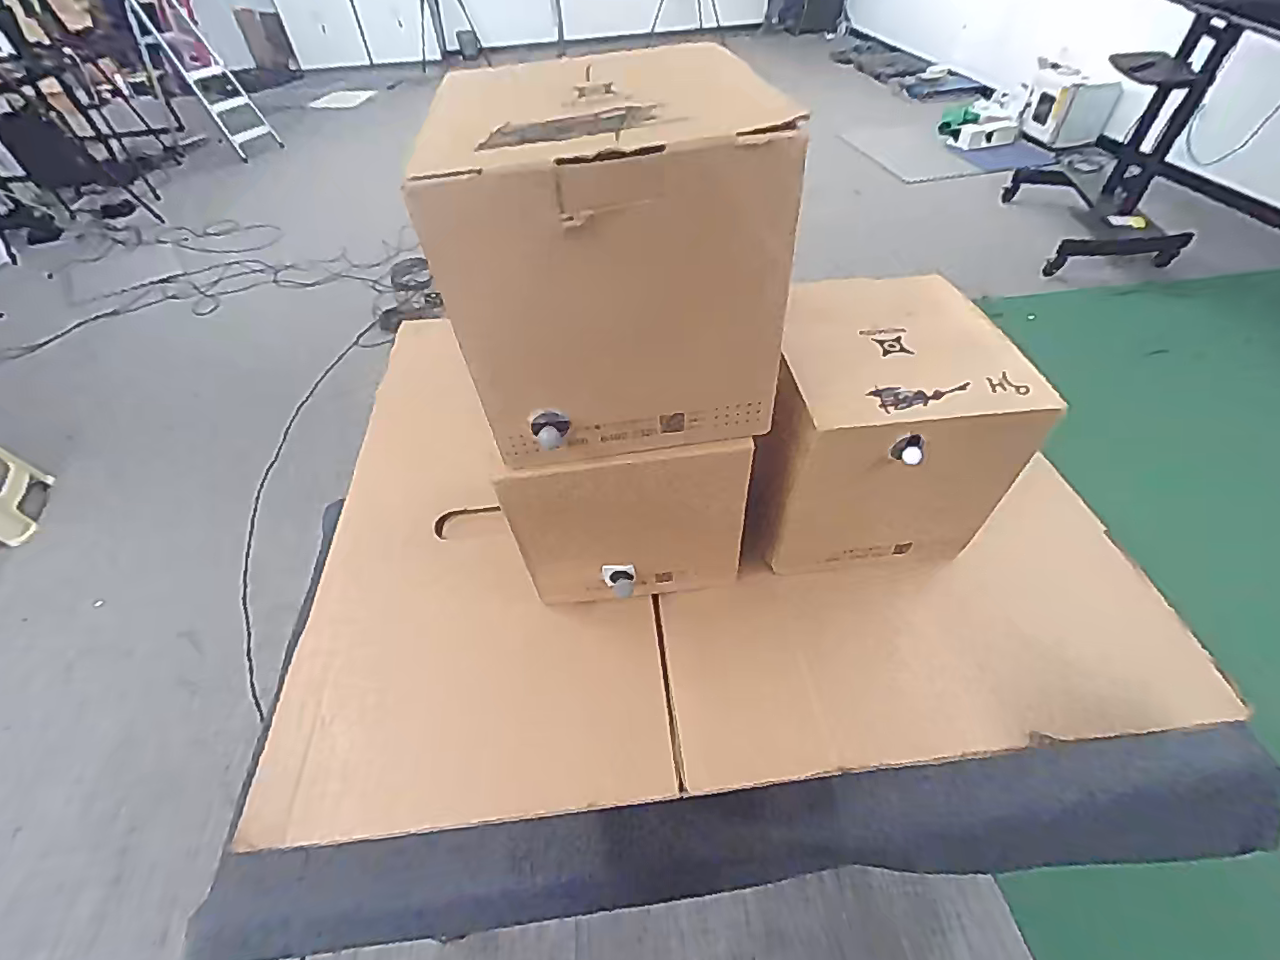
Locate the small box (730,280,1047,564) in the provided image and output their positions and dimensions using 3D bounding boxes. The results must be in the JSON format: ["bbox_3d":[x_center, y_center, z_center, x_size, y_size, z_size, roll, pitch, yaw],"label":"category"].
[{"bbox_3d":[0.179,-0.050,0.464,0.168,0.176,0.179,-5,47,-3],"label":"small box"}]

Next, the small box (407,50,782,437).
[{"bbox_3d":[-0.020,-0.141,0.341,0.168,0.176,0.179,-7,47,-1],"label":"small box"}]
